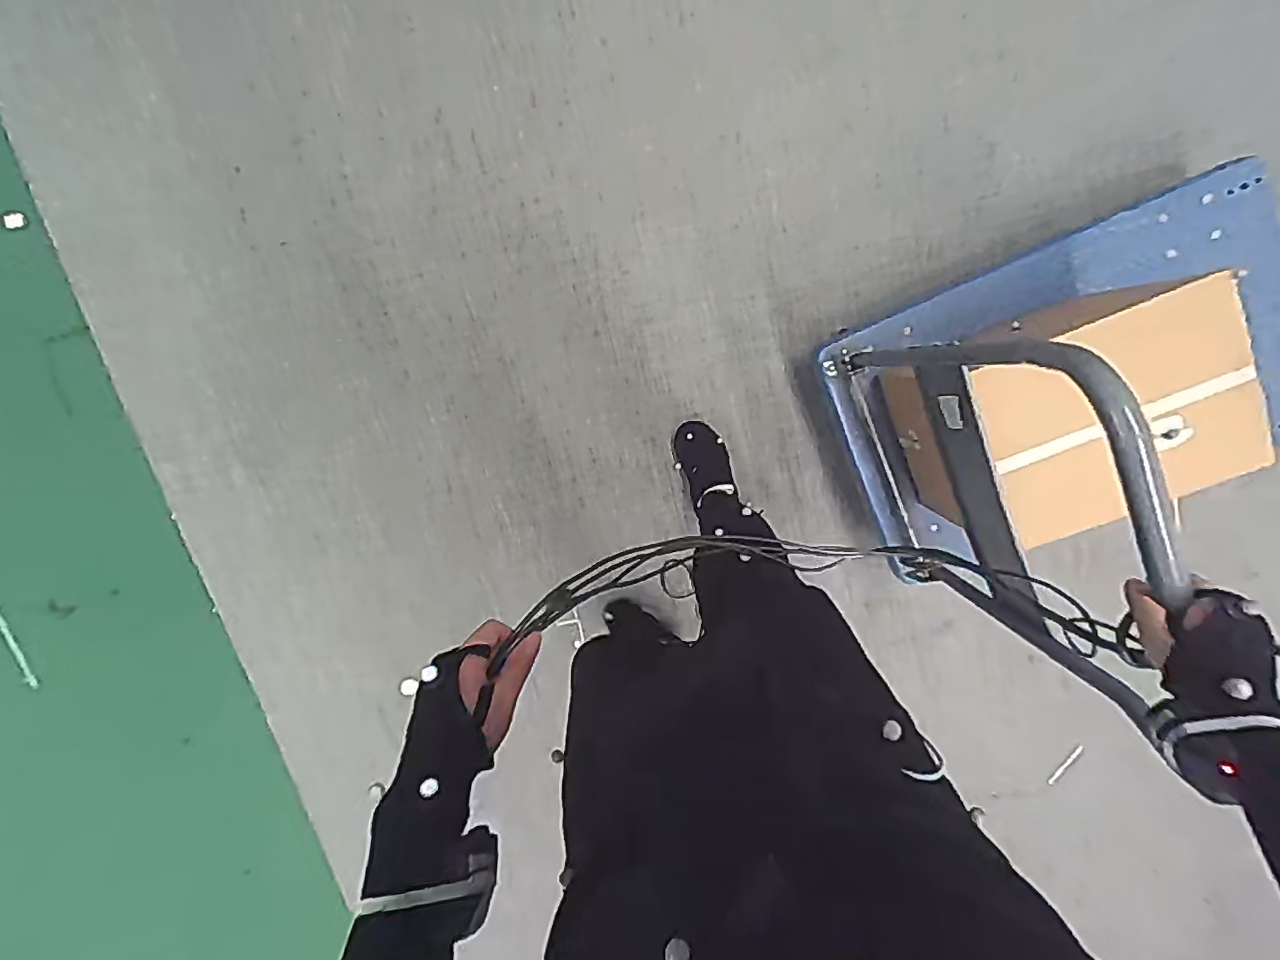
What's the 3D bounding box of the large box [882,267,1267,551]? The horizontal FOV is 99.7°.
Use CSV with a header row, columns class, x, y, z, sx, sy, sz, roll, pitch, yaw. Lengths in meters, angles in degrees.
class,x,y,z,sx,sy,sz,roll,pitch,yaw
large box,0.730,-0.124,0.976,0.408,0.320,0.320,-23,100,7
